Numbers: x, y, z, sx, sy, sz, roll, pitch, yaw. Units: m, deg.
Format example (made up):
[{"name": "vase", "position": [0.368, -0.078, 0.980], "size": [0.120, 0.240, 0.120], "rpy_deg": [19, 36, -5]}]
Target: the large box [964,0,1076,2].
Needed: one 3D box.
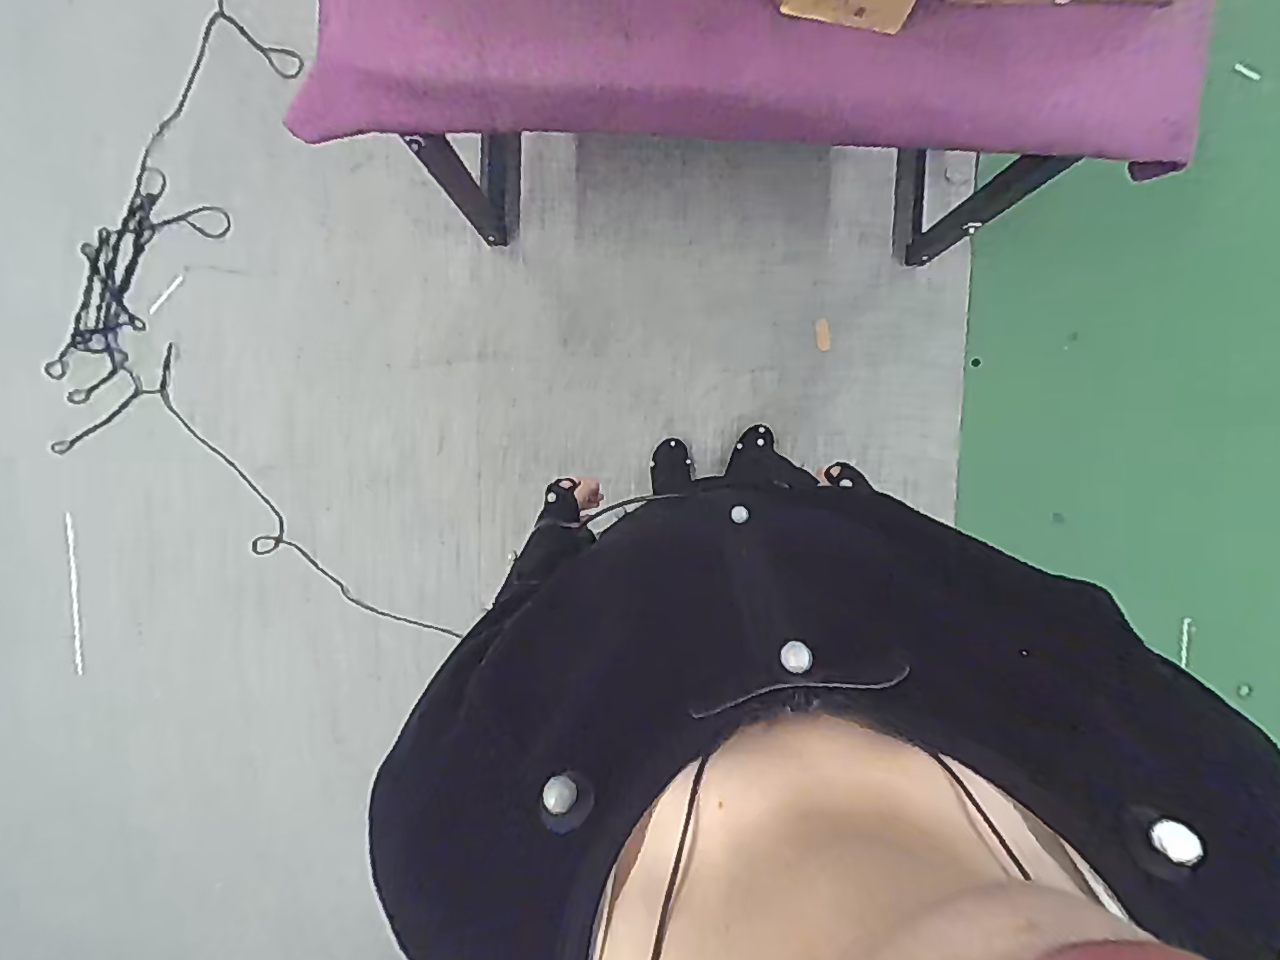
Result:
[{"name": "large box", "position": [0.565, -0.833, 0.564], "size": [0.320, 0.320, 0.408], "rpy_deg": [2, 94, 4]}]
